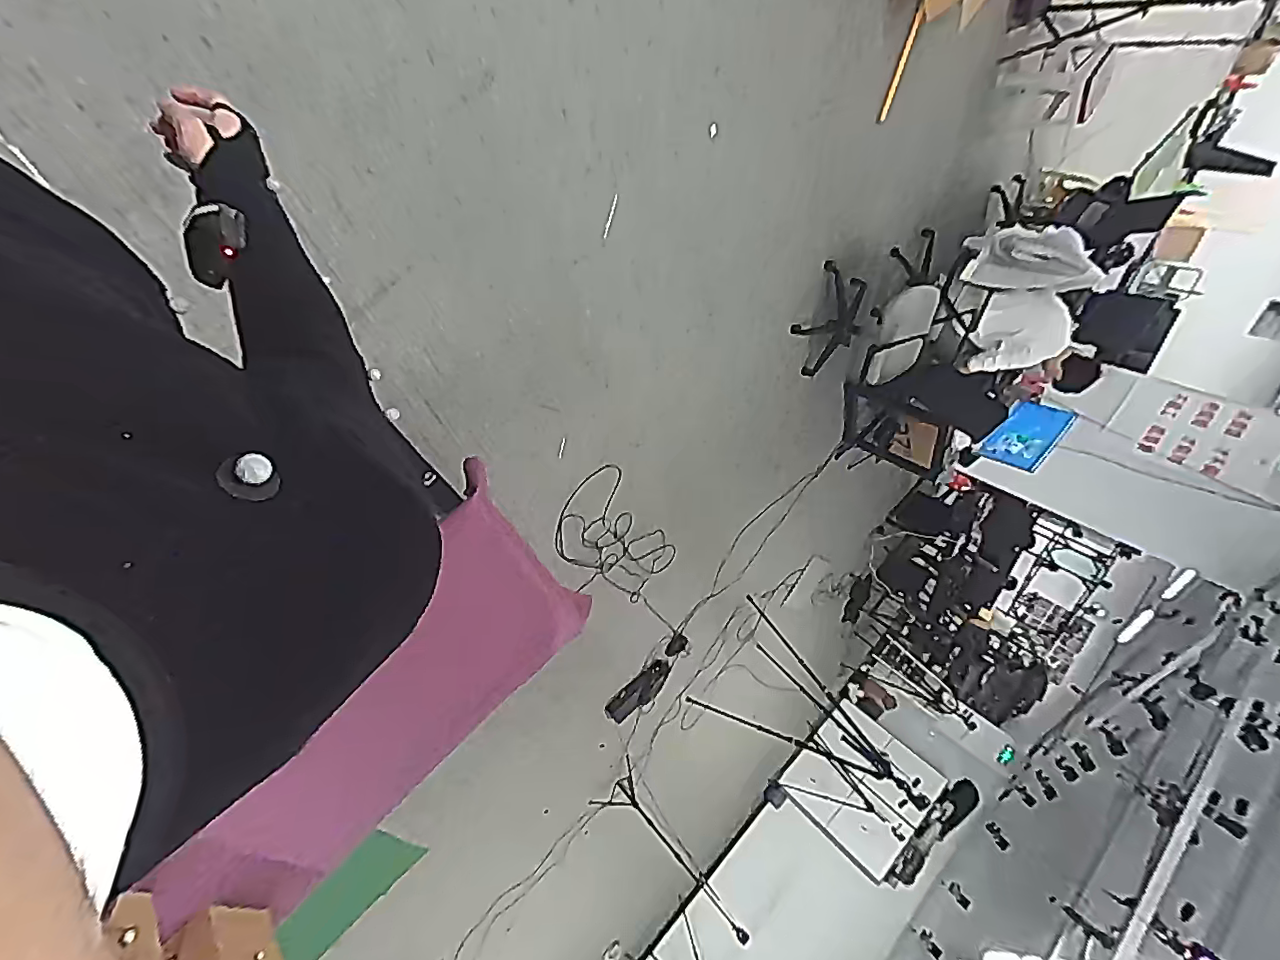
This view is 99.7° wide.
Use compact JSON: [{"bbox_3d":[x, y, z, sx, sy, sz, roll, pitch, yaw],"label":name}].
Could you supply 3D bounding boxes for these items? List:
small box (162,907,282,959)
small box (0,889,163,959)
[{"bbox_3d":[-0.874,1.028,1.114,0.168,0.176,0.179,-43,140,-21],"label":"small box"},{"bbox_3d":[-0.937,0.817,0.889,0.168,0.176,0.179,-42,143,-20],"label":"small box"}]
